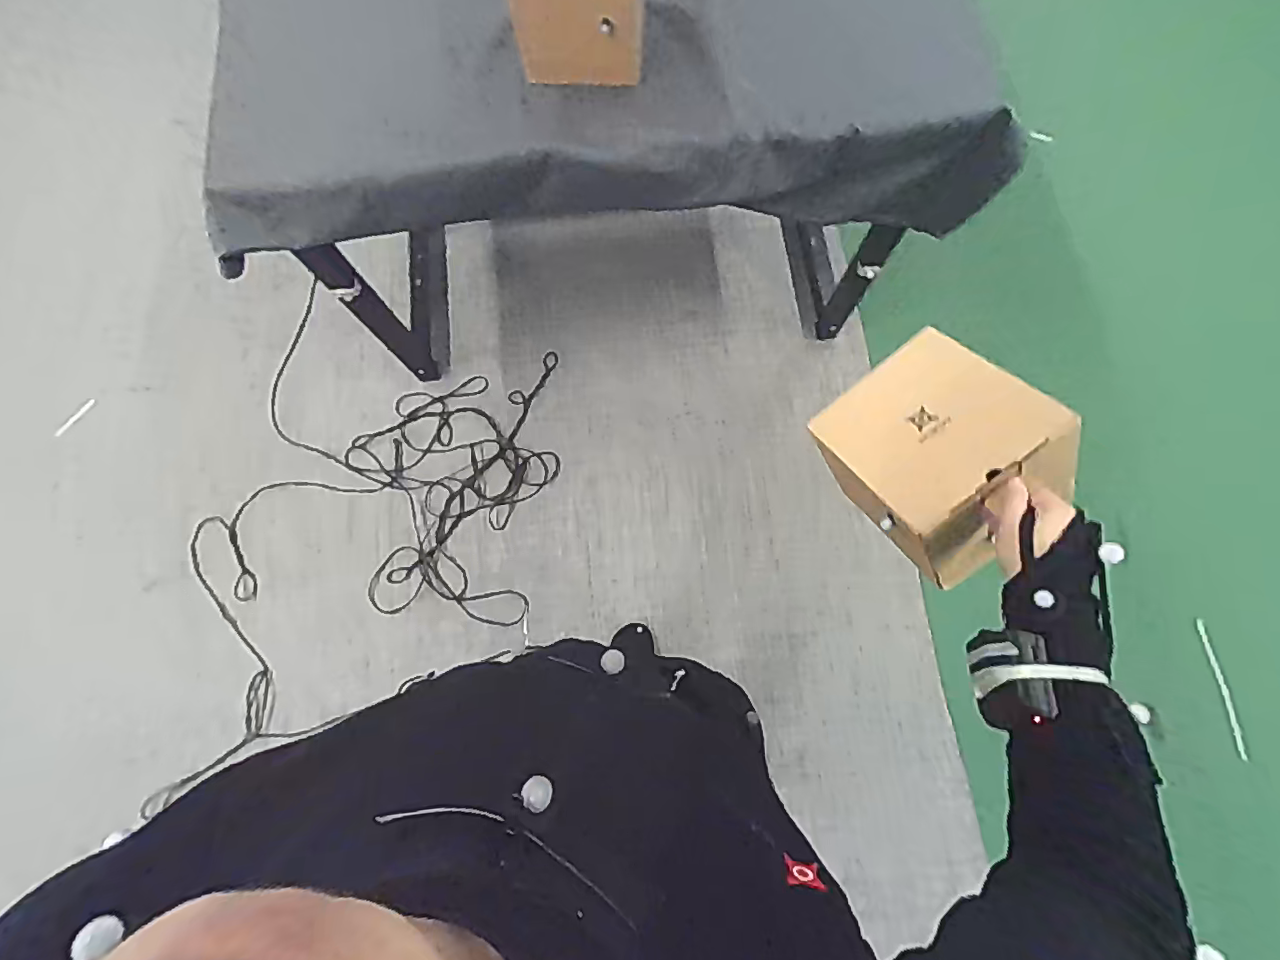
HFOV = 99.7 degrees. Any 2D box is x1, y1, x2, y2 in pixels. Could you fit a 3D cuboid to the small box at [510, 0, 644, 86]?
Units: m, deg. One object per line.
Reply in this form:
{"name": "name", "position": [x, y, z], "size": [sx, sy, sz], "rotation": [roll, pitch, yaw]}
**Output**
{"name": "small box", "position": [-0.084, -0.706, 0.778], "size": [0.179, 0.176, 0.168], "rotation": [1, 75, 2]}
